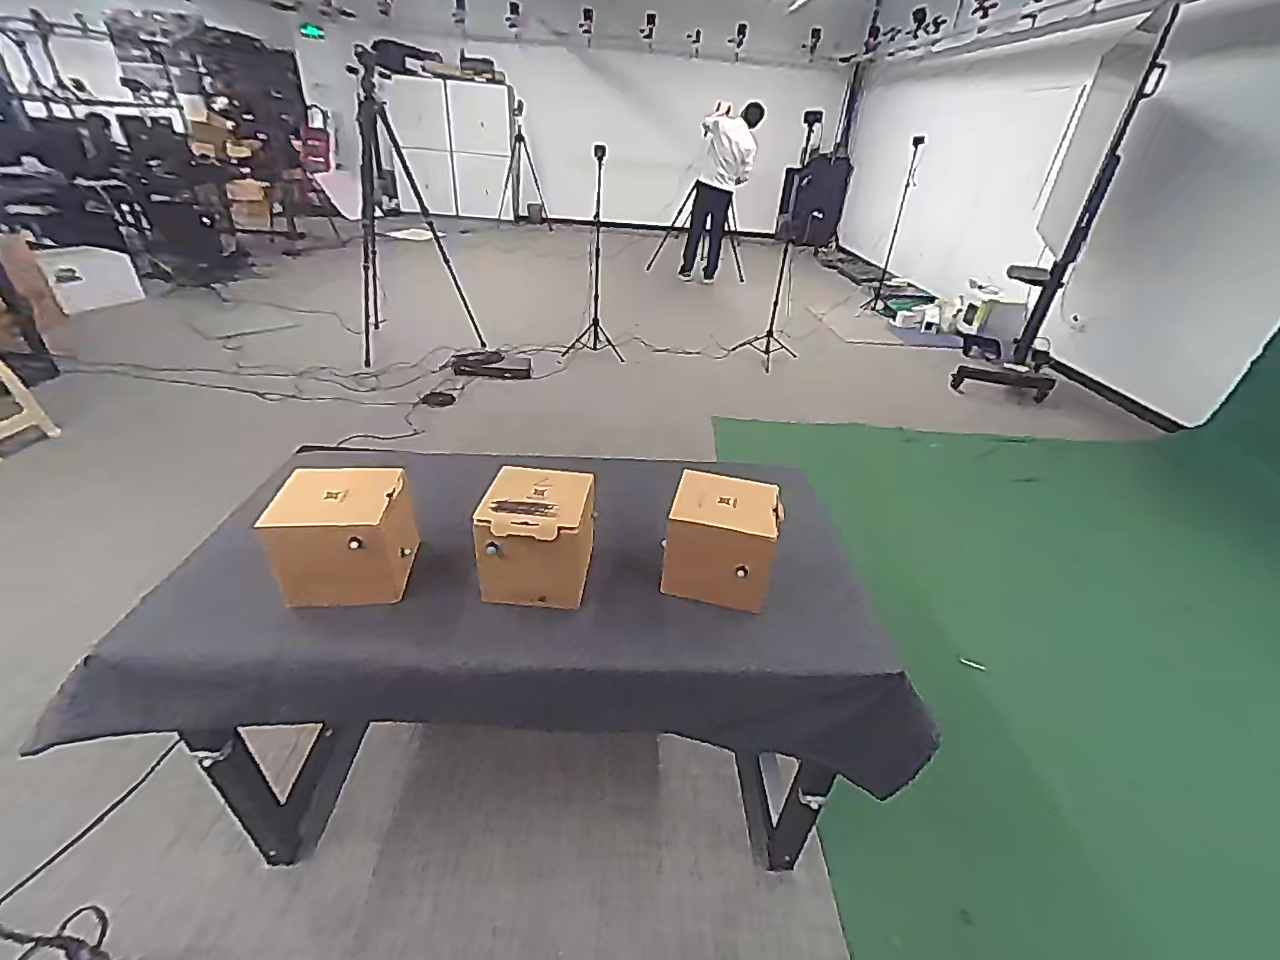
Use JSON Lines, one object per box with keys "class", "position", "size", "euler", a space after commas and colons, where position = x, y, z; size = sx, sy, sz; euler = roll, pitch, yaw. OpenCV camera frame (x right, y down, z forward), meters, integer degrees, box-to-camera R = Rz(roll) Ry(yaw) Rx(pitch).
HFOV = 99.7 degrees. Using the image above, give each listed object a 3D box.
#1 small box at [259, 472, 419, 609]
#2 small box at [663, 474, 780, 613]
{"class": "small box", "position": [-0.485, 0.100, 0.903], "size": [0.179, 0.176, 0.168], "euler": [0, 32, -9]}
{"class": "small box", "position": [0.146, 0.113, 0.965], "size": [0.179, 0.176, 0.168], "euler": [9, 31, 9]}
